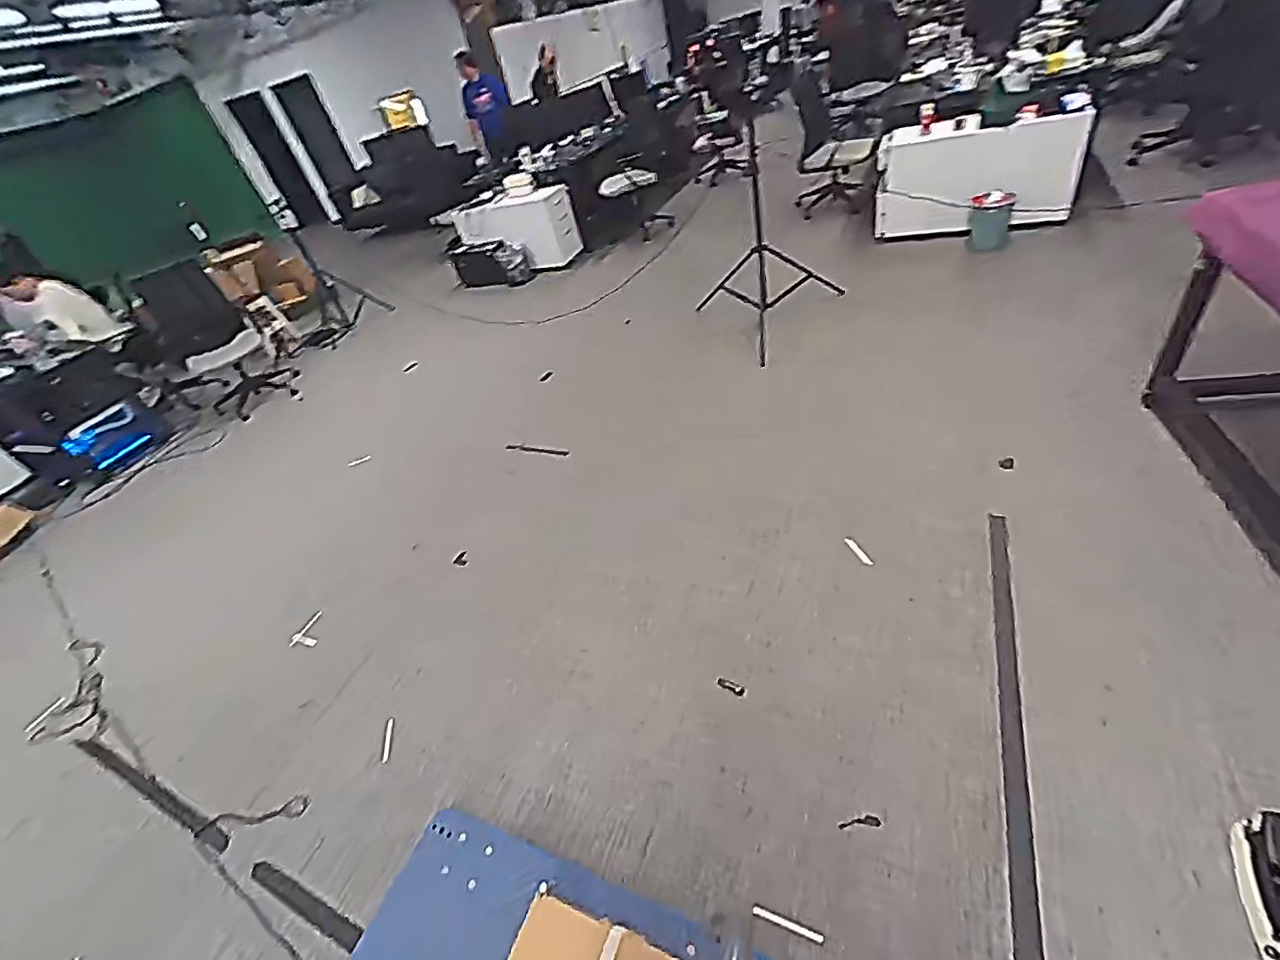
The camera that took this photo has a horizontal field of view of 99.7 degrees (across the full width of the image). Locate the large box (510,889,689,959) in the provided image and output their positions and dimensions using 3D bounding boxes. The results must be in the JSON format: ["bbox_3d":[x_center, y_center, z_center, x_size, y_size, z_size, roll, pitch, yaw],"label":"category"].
[{"bbox_3d":[-0.073,0.955,0.825,0.320,0.320,0.408,7,44,25],"label":"large box"}]
